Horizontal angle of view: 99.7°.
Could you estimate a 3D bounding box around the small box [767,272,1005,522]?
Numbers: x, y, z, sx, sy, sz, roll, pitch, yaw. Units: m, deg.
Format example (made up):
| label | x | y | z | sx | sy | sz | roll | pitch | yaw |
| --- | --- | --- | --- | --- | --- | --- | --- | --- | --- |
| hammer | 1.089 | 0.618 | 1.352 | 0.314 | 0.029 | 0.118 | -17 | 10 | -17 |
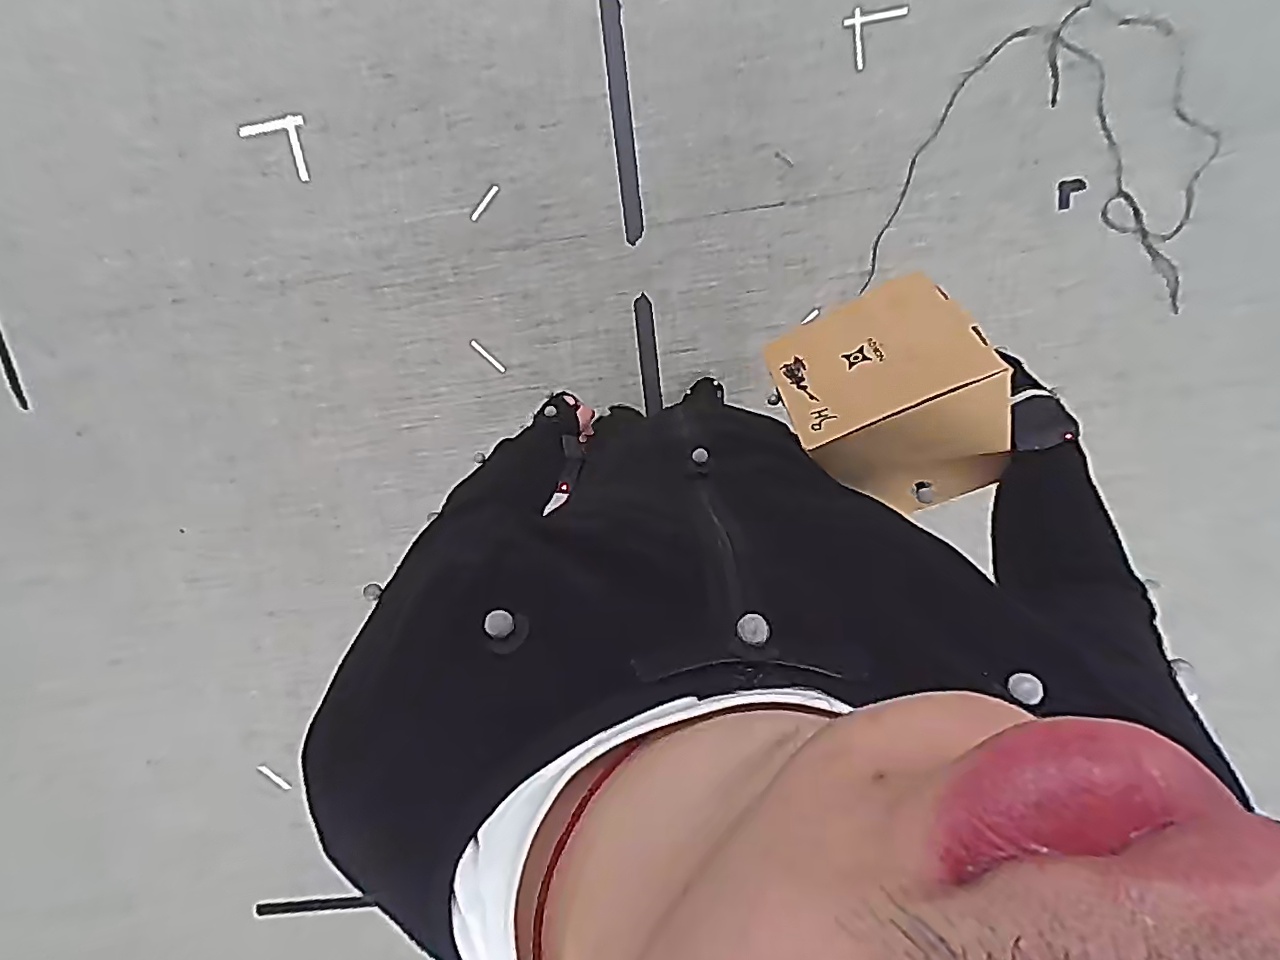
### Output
| label | x | y | z | sx | sy | sz | roll | pitch | yaw |
| --- | --- | --- | --- | --- | --- | --- | --- | --- | --- |
| small box | 0.264 | -0.082 | 0.592 | 0.179 | 0.168 | 0.176 | -24 | 136 | 17 |
